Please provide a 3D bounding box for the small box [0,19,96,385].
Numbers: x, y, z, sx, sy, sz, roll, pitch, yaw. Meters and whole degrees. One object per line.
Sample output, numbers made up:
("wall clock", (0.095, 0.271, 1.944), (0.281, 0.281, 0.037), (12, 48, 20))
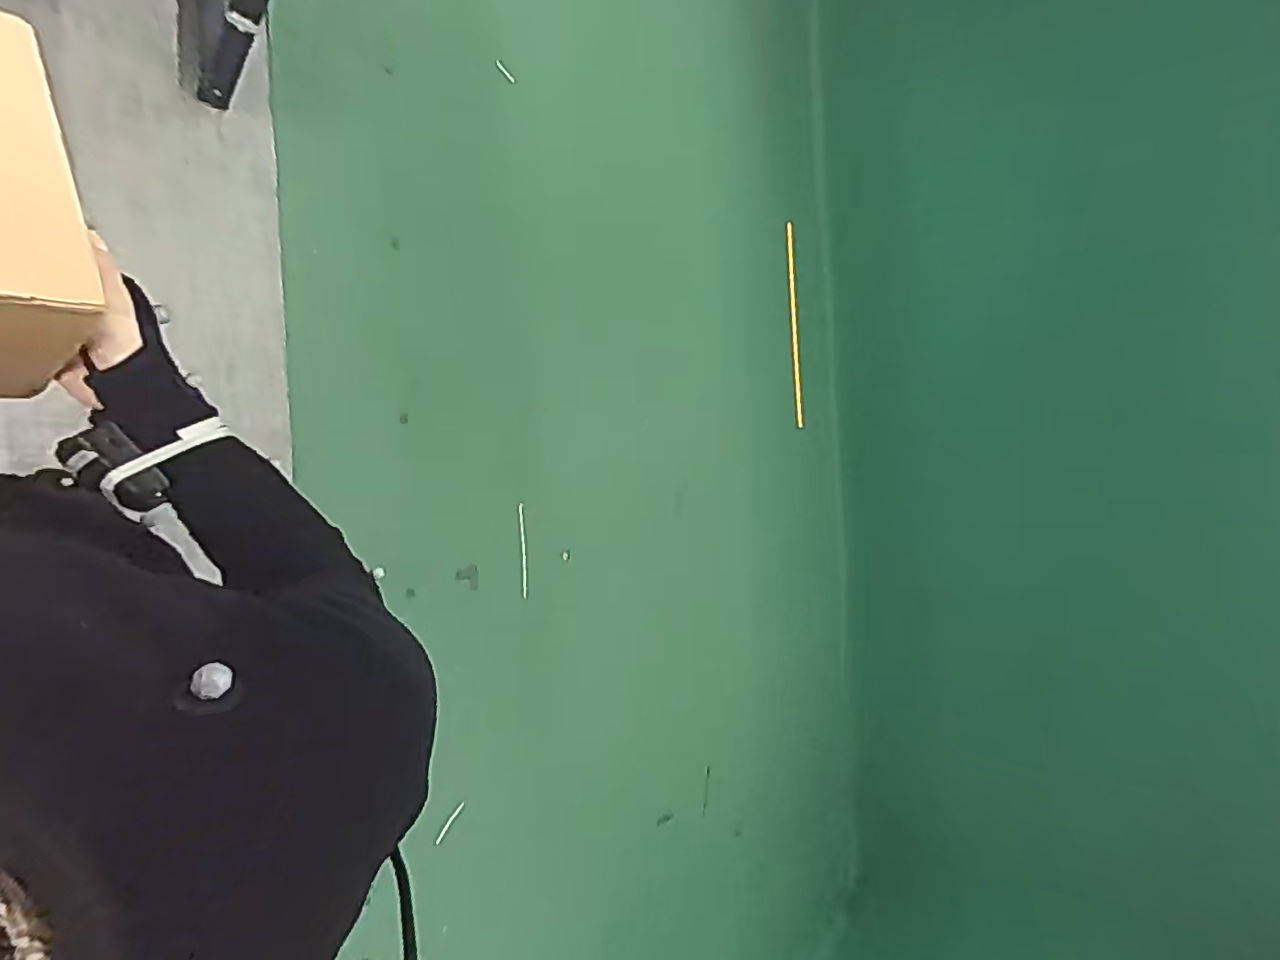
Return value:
("small box", (-0.449, -0.156, 0.286), (0.168, 0.176, 0.179), (-17, 93, -61))
